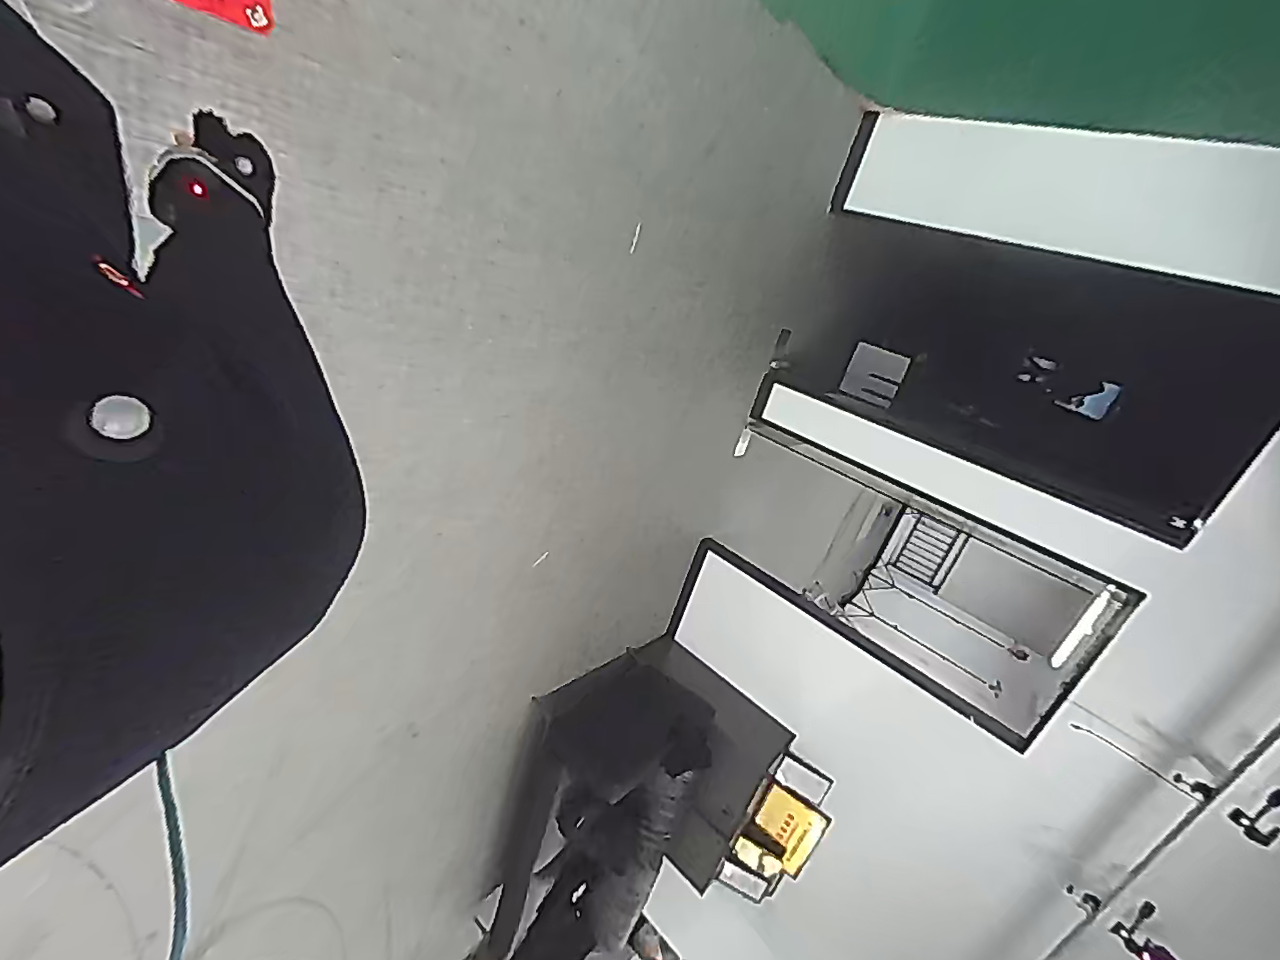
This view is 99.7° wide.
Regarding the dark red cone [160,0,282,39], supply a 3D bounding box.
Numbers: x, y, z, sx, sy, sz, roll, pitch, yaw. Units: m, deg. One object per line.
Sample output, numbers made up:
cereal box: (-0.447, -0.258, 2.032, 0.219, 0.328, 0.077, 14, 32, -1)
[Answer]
dark red cone: (-0.622, -0.844, 0.845, 0.202, 0.394, 0.201, -17, 128, -46)
